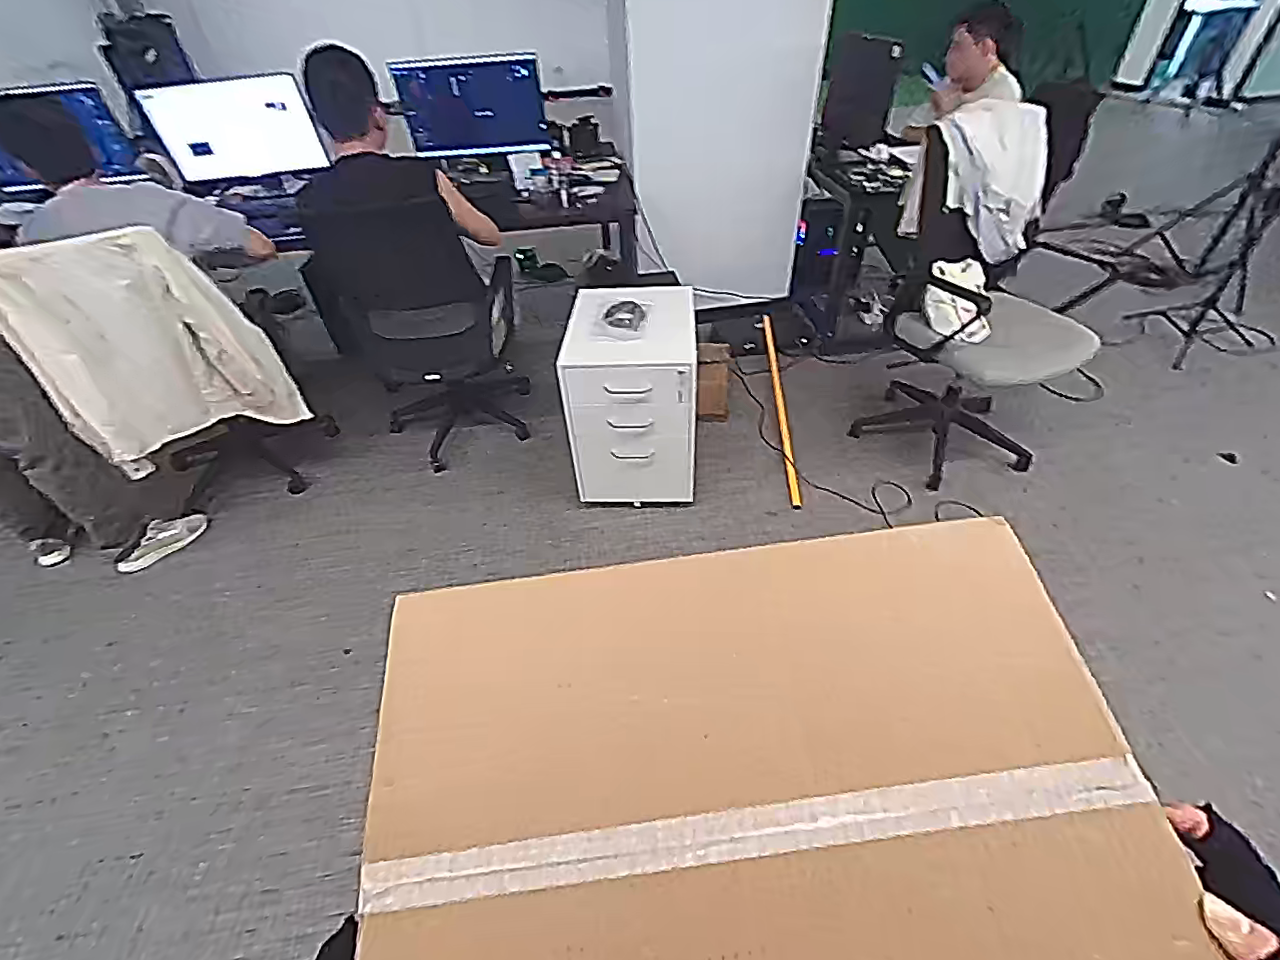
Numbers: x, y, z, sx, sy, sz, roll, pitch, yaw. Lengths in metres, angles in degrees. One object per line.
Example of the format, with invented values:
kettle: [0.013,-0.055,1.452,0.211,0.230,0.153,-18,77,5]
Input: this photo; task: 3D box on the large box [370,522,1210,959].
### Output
large box: [0.066,0.264,0.414,0.408,0.320,0.320,-8,59,-1]
